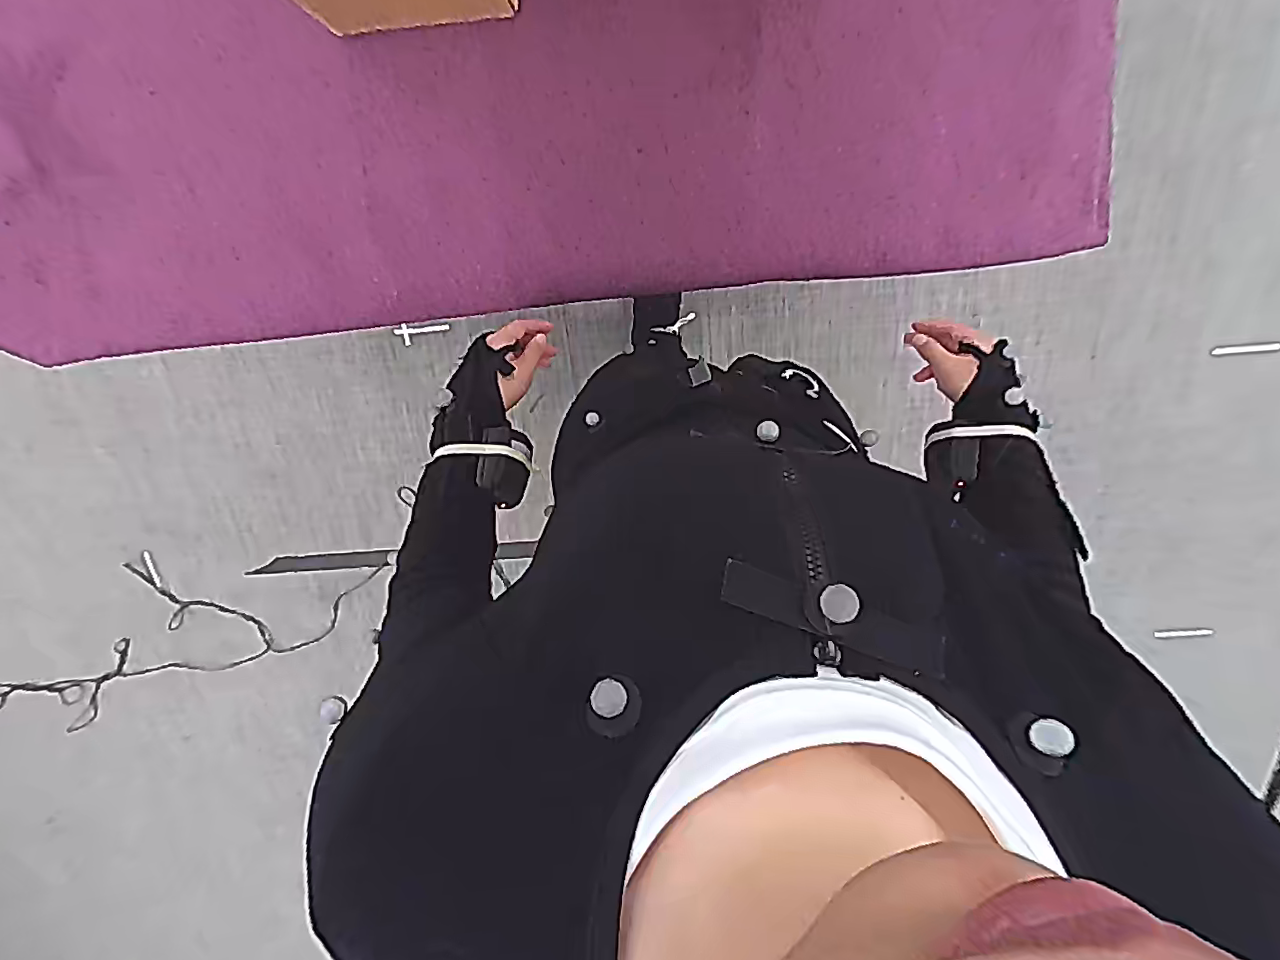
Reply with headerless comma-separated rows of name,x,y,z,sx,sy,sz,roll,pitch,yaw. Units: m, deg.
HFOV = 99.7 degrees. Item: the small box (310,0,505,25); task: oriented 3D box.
small box,-0.204,-0.469,0.391,0.179,0.176,0.168,-5,109,2
